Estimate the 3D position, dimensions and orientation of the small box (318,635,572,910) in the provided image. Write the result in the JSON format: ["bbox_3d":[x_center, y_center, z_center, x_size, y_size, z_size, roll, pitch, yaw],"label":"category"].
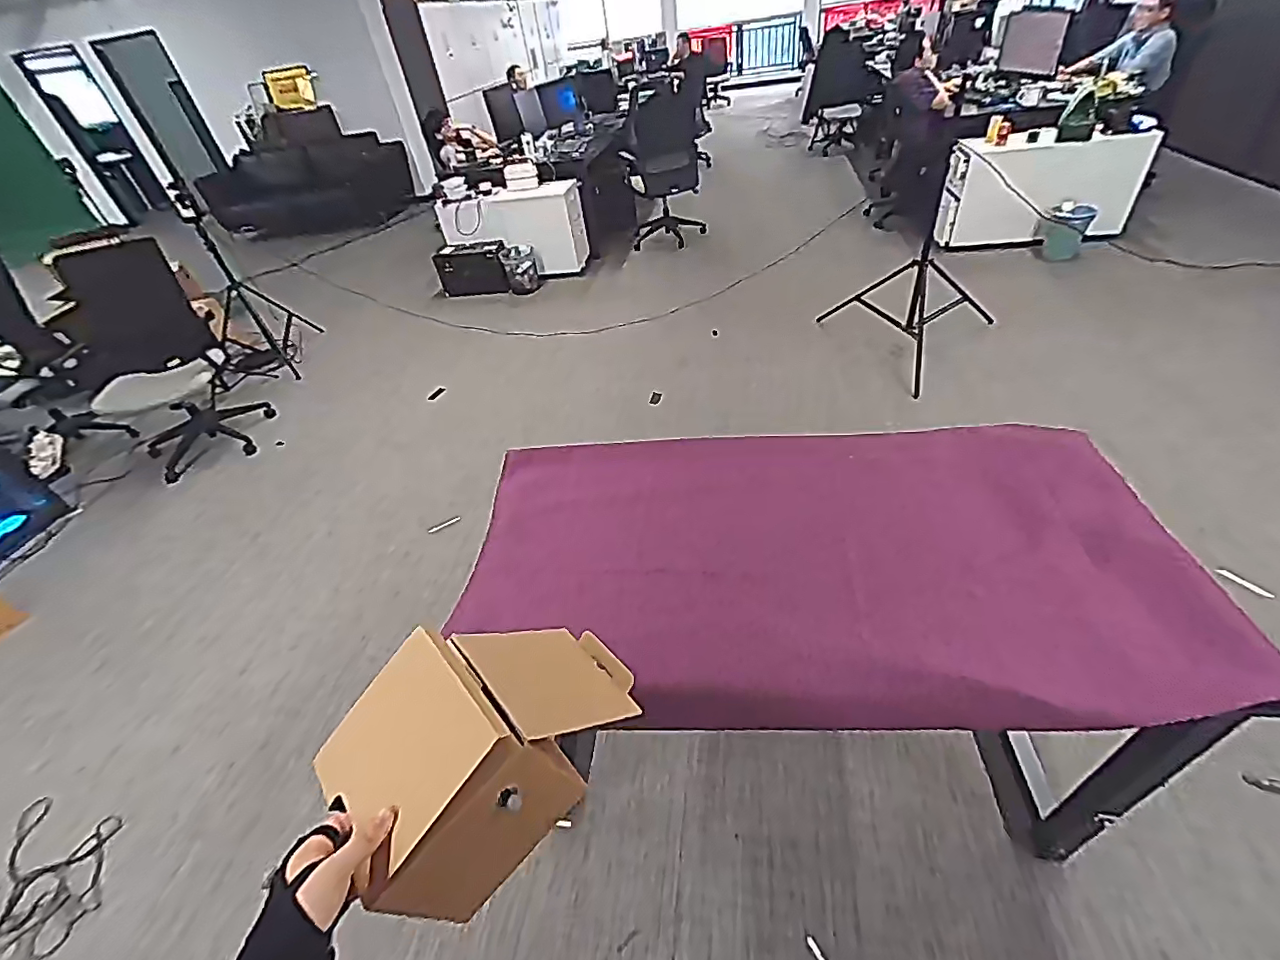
[{"bbox_3d":[-0.193,0.311,0.580,0.179,0.176,0.168,-42,47,-18],"label":"small box"}]
